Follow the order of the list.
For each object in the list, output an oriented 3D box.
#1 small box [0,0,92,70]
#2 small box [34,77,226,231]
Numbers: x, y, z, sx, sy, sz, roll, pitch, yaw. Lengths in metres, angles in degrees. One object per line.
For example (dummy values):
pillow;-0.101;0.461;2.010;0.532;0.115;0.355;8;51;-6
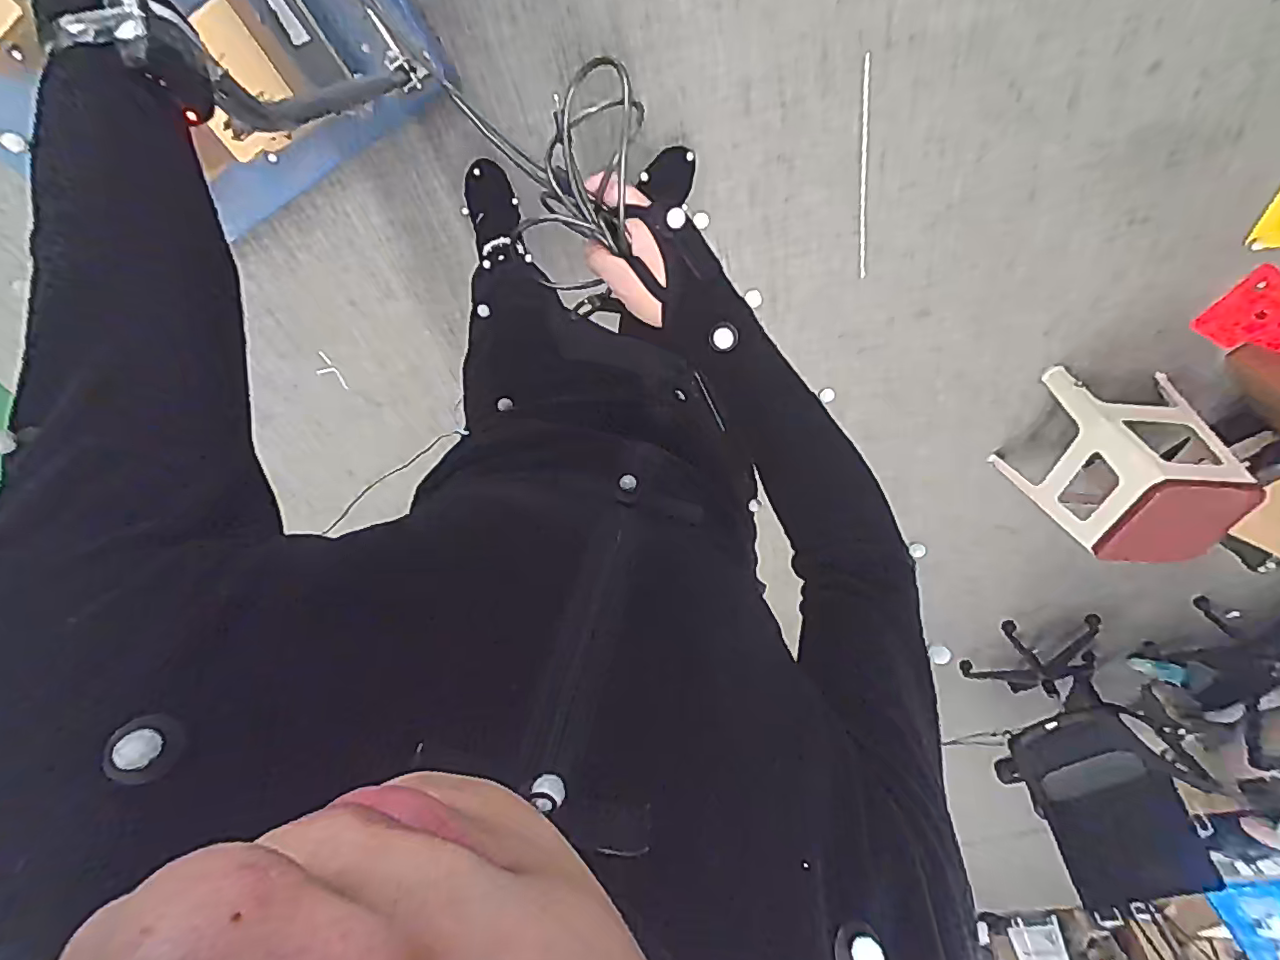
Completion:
small box;-1.031;-0.770;0.840;0.179;0.176;0.168;-23;129;17
small box;-0.917;-0.602;0.995;0.179;0.176;0.168;-24;128;19
